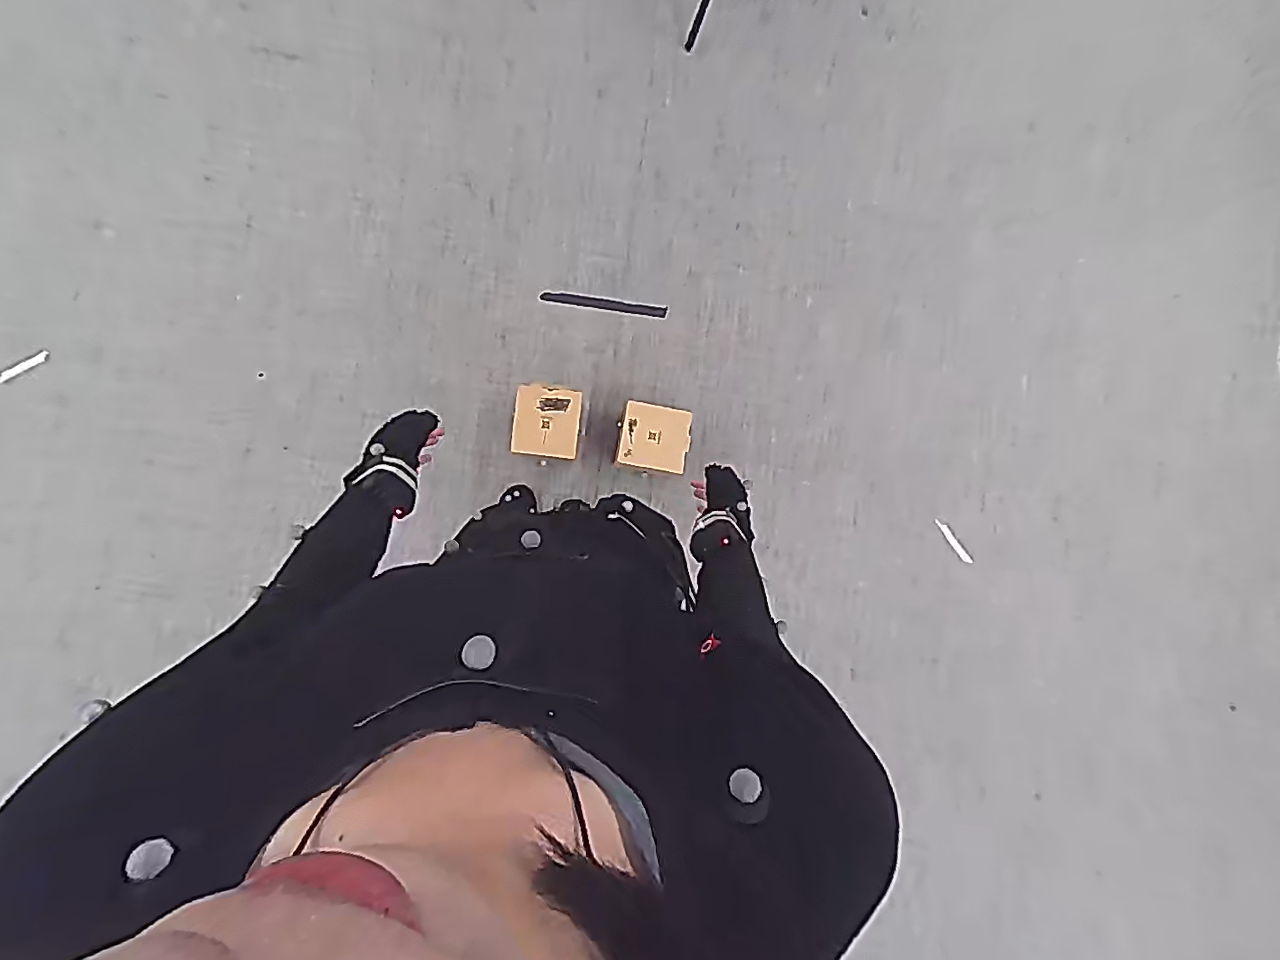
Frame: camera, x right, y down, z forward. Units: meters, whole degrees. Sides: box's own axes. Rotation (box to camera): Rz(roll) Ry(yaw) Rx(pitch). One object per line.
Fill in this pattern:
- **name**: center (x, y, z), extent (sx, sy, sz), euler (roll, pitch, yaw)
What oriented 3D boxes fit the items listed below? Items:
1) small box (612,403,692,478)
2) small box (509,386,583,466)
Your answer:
- **small box**: center (0.027, -0.100, 1.466), extent (0.179, 0.176, 0.168), euler (11, 87, -6)
- **small box**: center (-0.245, -0.139, 1.441), extent (0.168, 0.176, 0.179), euler (7, 87, -4)
